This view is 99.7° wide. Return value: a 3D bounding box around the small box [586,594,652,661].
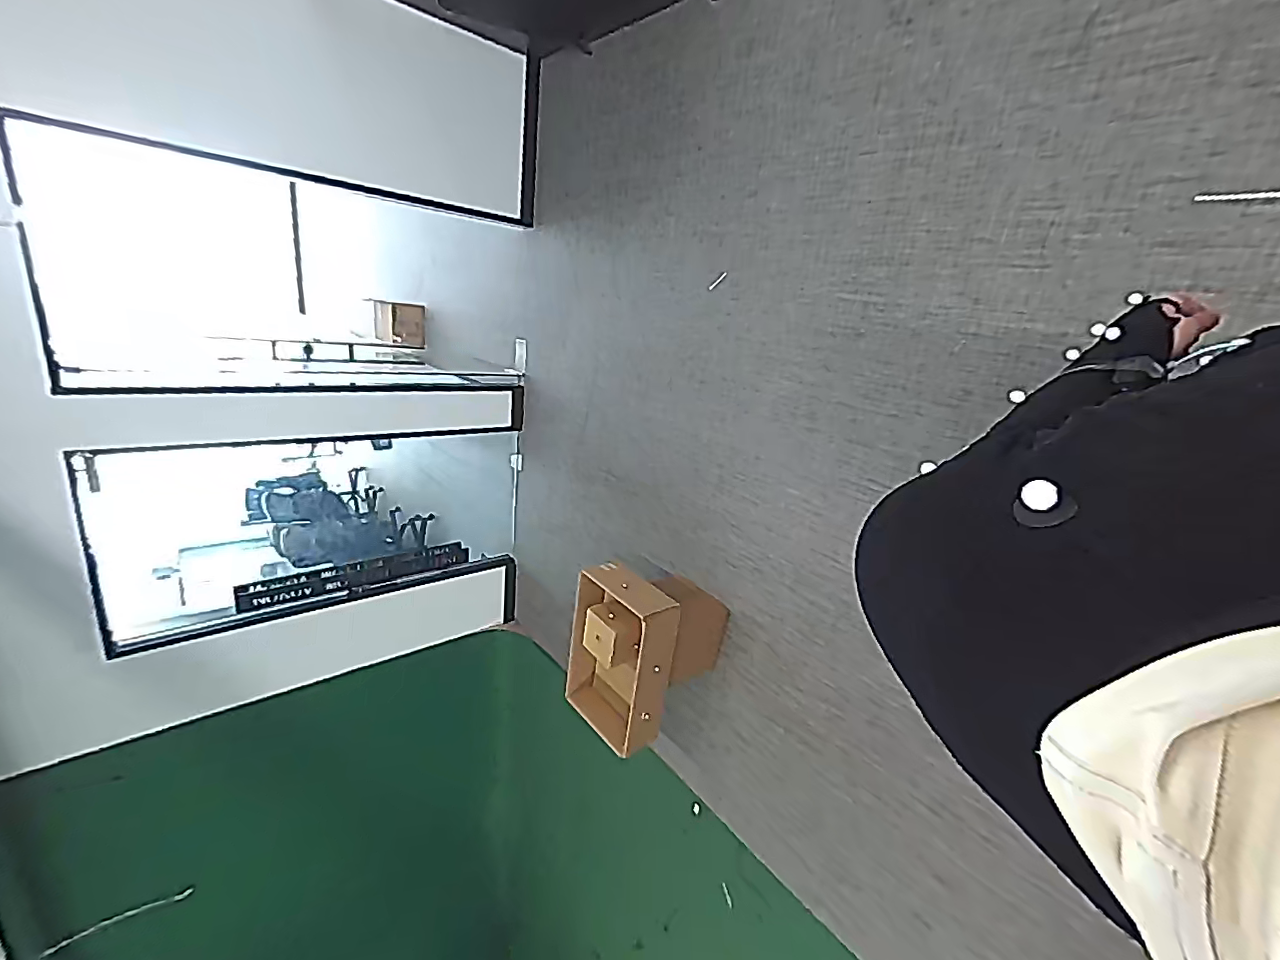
[{"bbox_3d":[-0.082,0.551,2.057,0.179,0.176,0.168,28,116,43],"label":"small box"}]
